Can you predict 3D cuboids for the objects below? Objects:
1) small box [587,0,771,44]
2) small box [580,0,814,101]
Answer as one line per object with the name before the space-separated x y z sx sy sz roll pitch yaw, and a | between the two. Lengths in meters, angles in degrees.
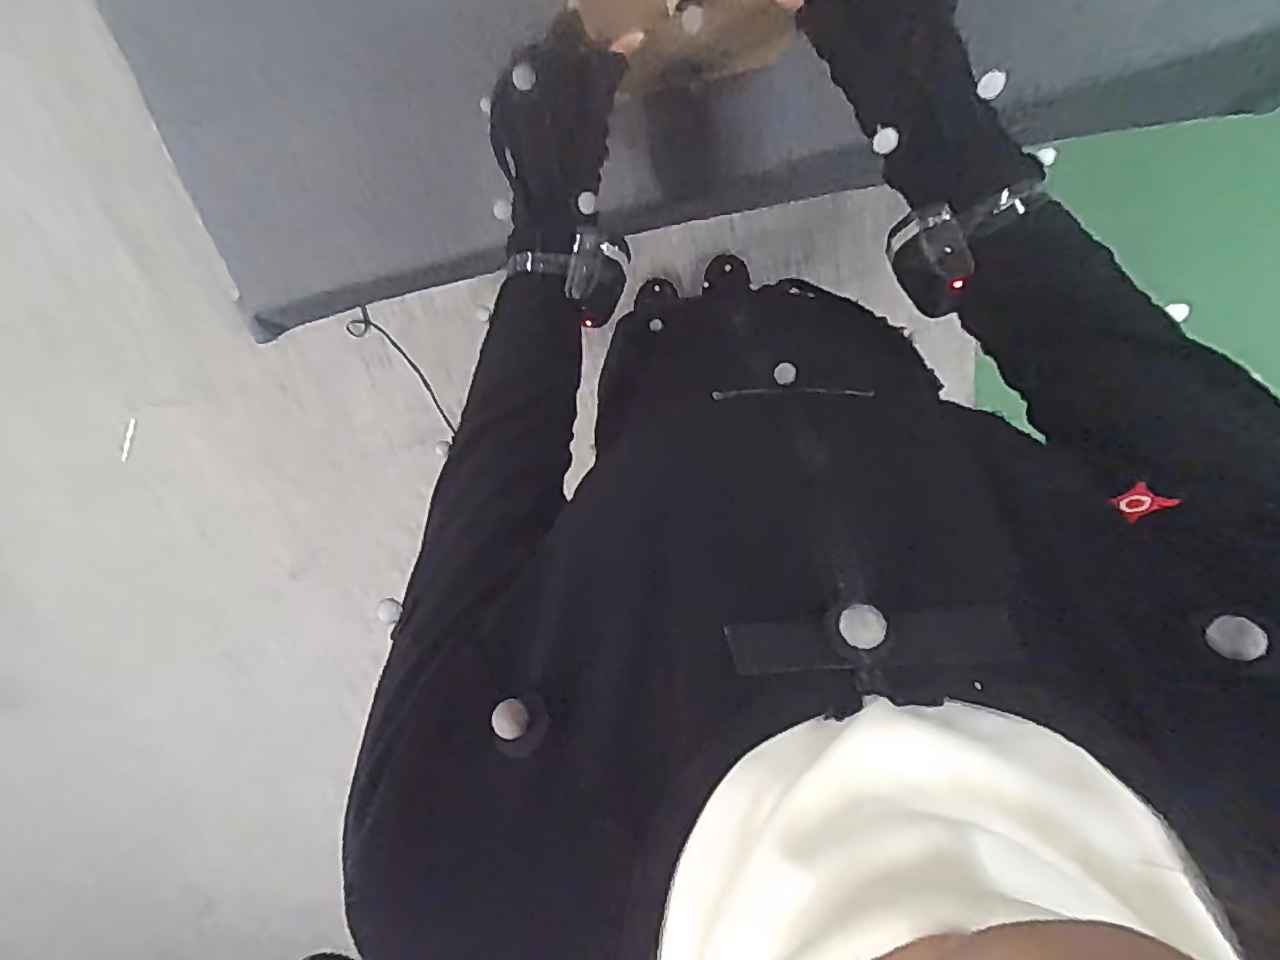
small box | 0.024 -0.383 0.287 0.168 0.176 0.179 -11 112 8
small box | 0.032 -0.441 0.439 0.179 0.176 0.168 -10 111 5
